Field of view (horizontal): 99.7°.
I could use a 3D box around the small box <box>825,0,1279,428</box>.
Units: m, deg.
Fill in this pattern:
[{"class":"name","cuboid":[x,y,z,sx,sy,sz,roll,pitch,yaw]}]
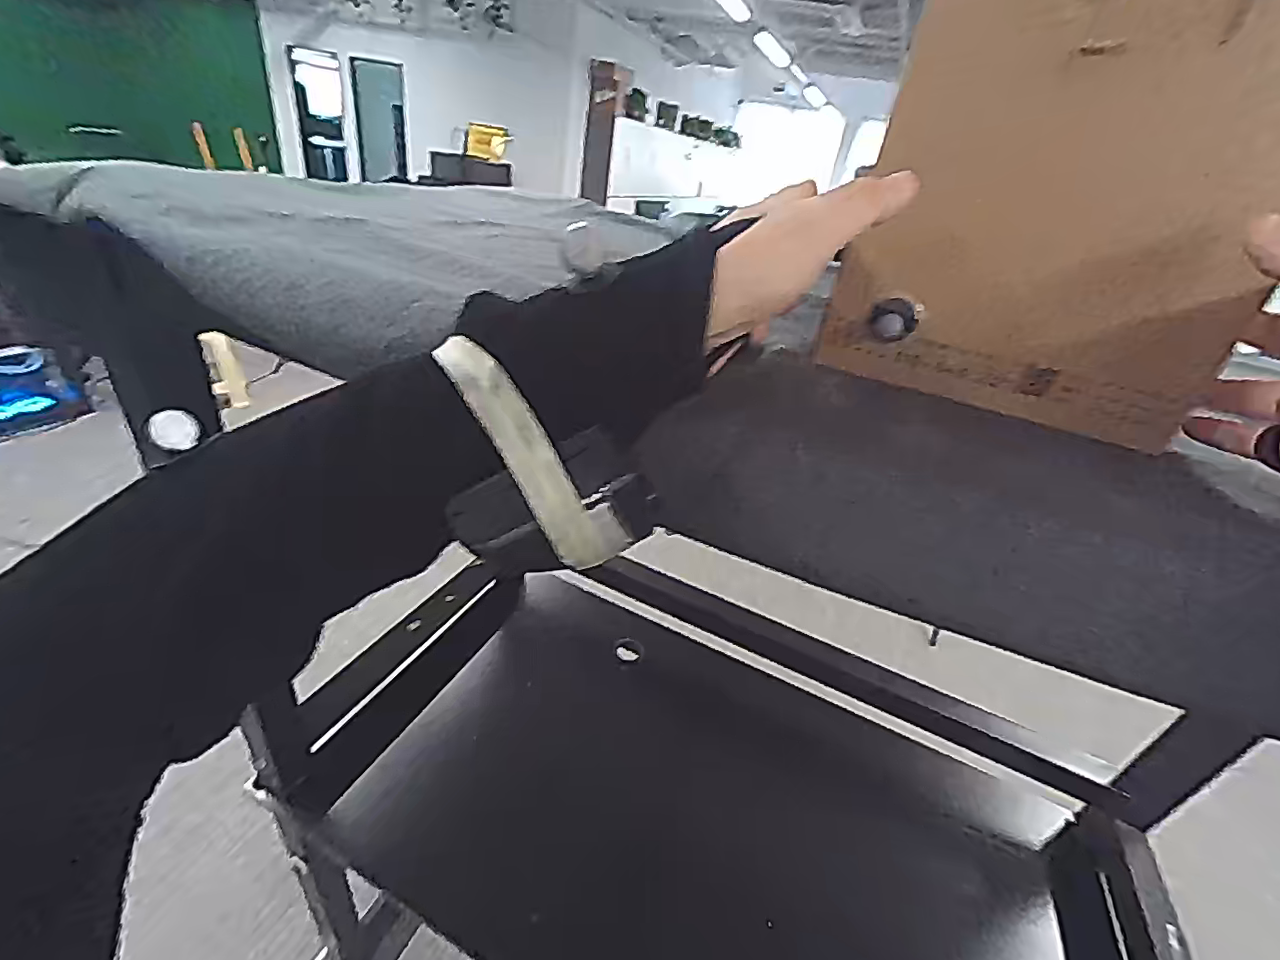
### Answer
[{"class":"small box","cuboid":[0.214,-0.144,0.299,0.168,0.176,0.179,20,30,16]}]
